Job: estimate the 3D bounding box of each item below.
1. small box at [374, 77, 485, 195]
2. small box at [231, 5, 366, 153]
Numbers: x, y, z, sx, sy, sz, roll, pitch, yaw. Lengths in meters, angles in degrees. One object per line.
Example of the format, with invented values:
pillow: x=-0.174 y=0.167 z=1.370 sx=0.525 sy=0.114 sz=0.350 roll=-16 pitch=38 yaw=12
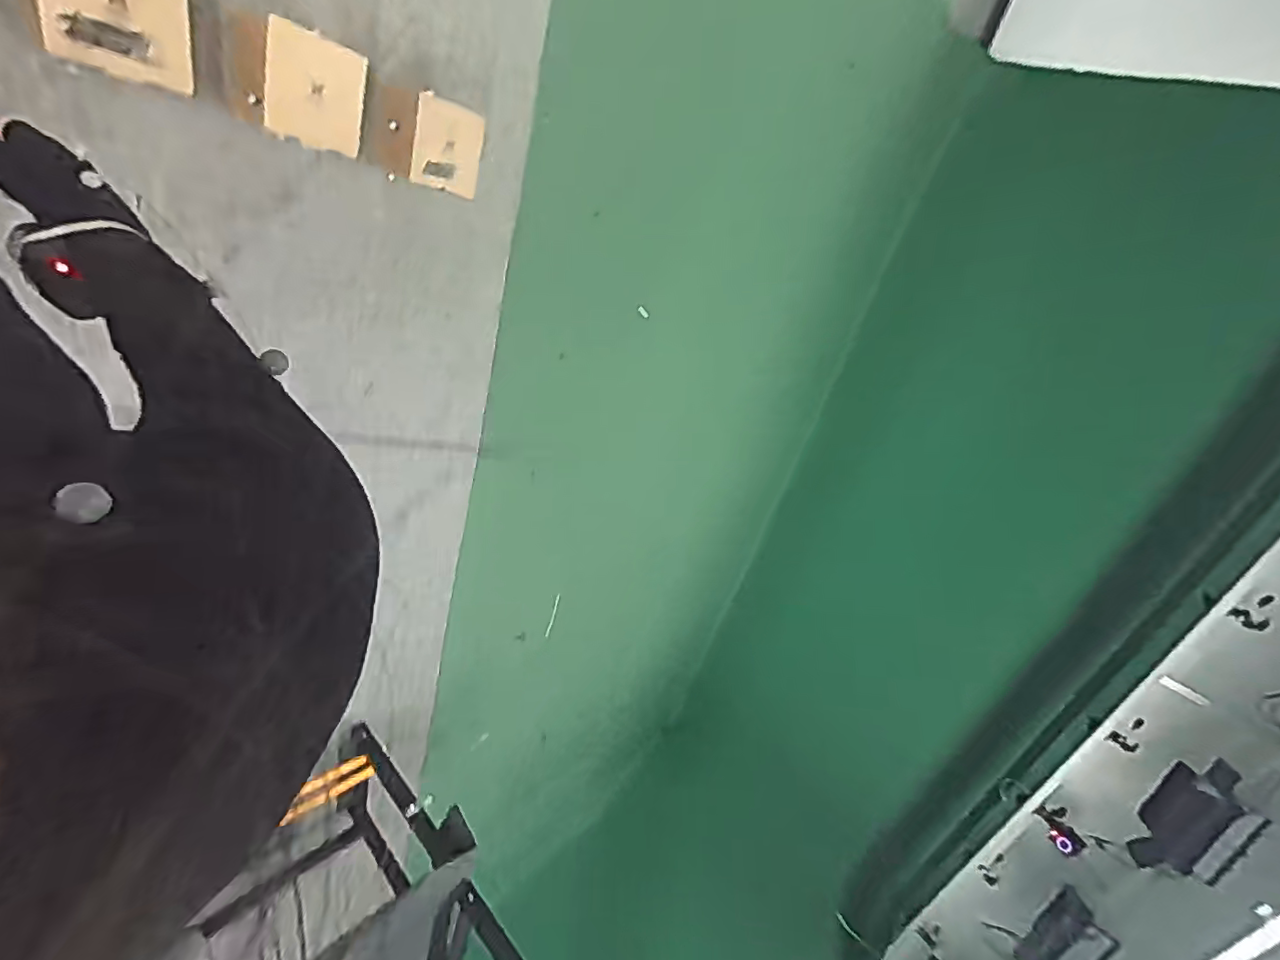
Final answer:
small box: x=-0.484 y=-0.783 z=1.234 sx=0.168 sy=0.176 sz=0.179 roll=-13 pitch=129 yaw=-51
small box: x=-0.647 y=-0.755 z=1.022 sx=0.168 sy=0.176 sz=0.179 roll=-13 pitch=130 yaw=-51
